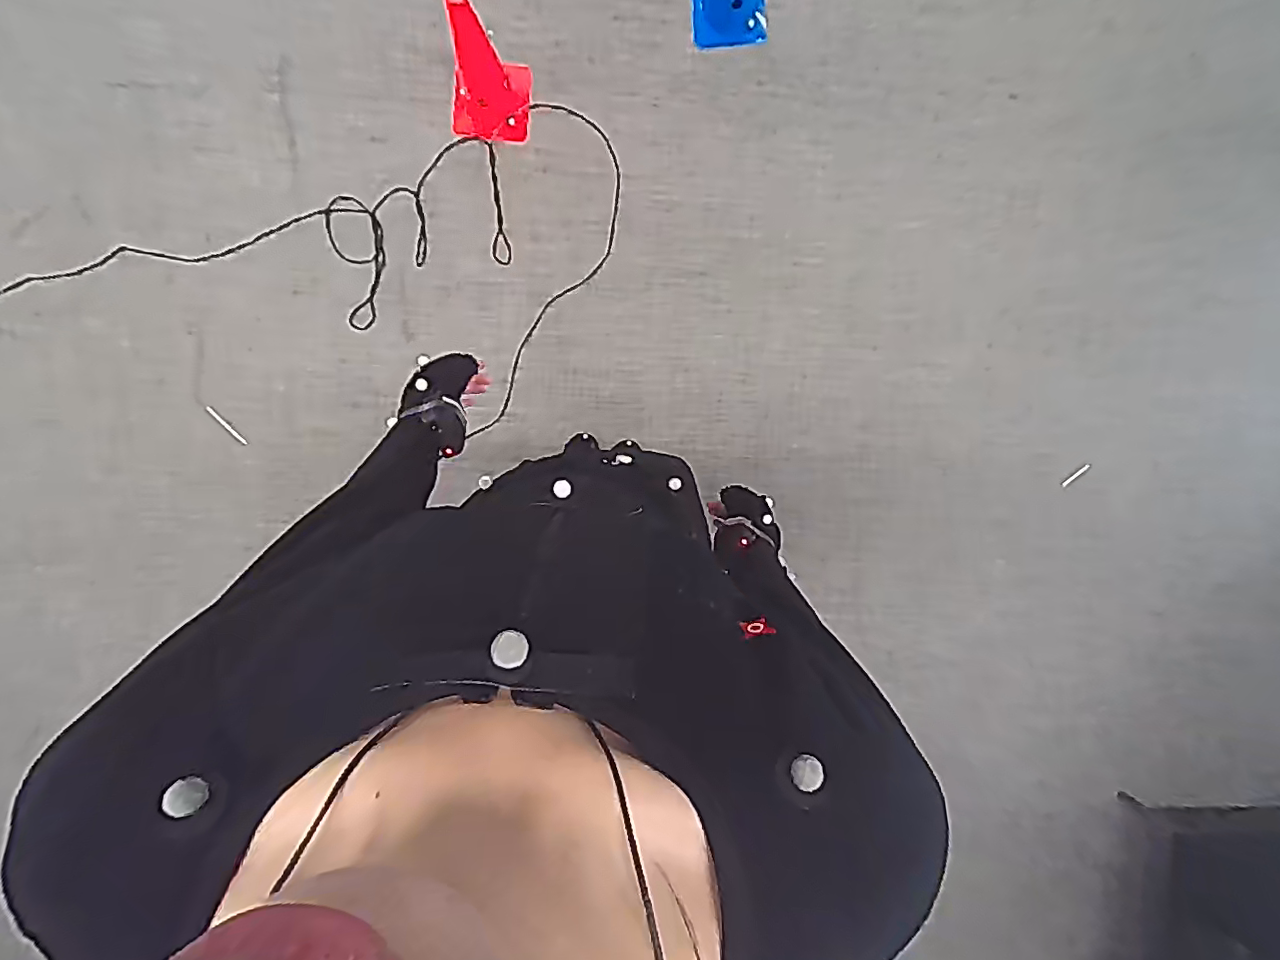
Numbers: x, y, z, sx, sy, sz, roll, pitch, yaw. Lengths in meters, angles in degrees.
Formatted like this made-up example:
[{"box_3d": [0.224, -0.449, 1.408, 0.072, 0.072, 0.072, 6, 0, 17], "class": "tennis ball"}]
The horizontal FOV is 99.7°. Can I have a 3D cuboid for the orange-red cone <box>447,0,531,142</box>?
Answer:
[{"box_3d": [-0.385, -0.998, 1.257, 0.198, 0.360, 0.199, 6, 92, -3], "class": "orange-red cone"}]
